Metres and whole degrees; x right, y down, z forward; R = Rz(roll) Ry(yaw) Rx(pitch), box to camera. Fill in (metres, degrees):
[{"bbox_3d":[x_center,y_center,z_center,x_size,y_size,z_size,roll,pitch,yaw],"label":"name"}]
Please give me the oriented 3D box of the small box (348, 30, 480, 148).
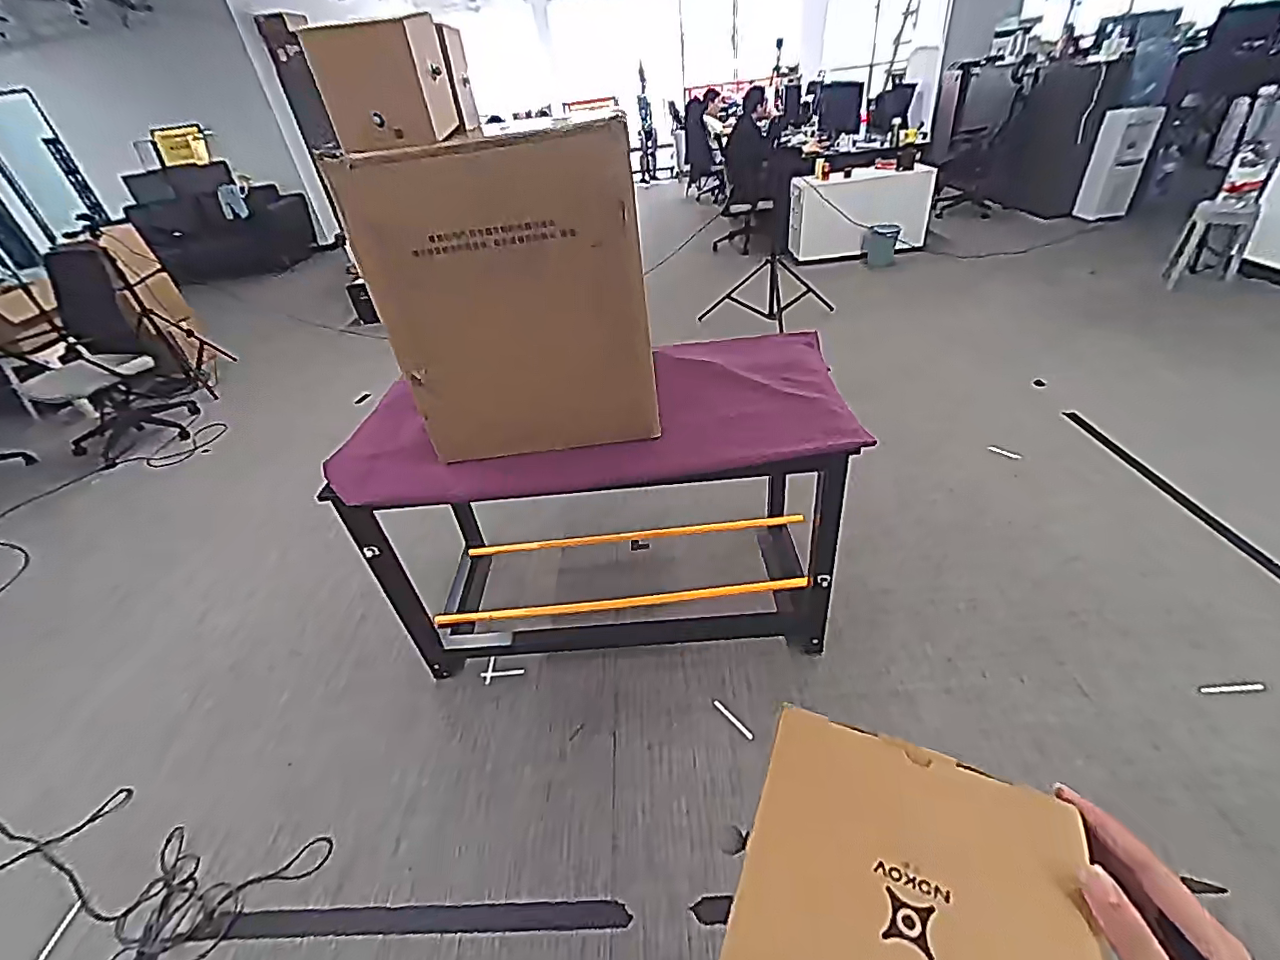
[{"bbox_3d":[-0.432,-0.772,1.072,0.179,0.176,0.168,-6,36,1],"label":"small box"}]
